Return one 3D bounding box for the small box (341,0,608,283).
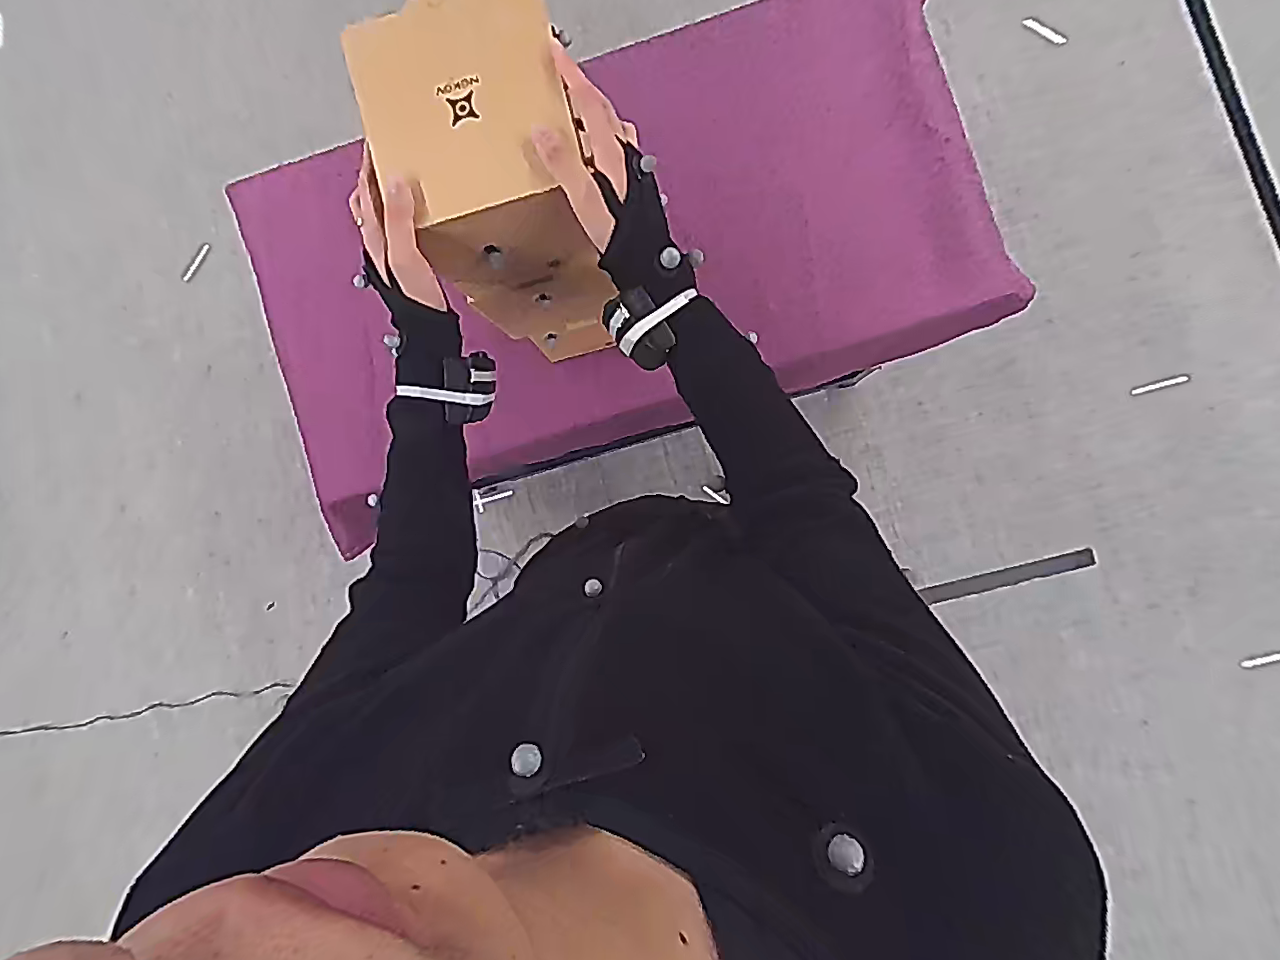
[{"bbox_3d":[-0.134,-0.303,0.505,0.168,0.176,0.179,-14,89,5],"label":"small box"}]

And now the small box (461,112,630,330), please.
[{"bbox_3d":[-0.119,-0.300,0.667,0.179,0.176,0.168,-14,90,4],"label":"small box"}]
